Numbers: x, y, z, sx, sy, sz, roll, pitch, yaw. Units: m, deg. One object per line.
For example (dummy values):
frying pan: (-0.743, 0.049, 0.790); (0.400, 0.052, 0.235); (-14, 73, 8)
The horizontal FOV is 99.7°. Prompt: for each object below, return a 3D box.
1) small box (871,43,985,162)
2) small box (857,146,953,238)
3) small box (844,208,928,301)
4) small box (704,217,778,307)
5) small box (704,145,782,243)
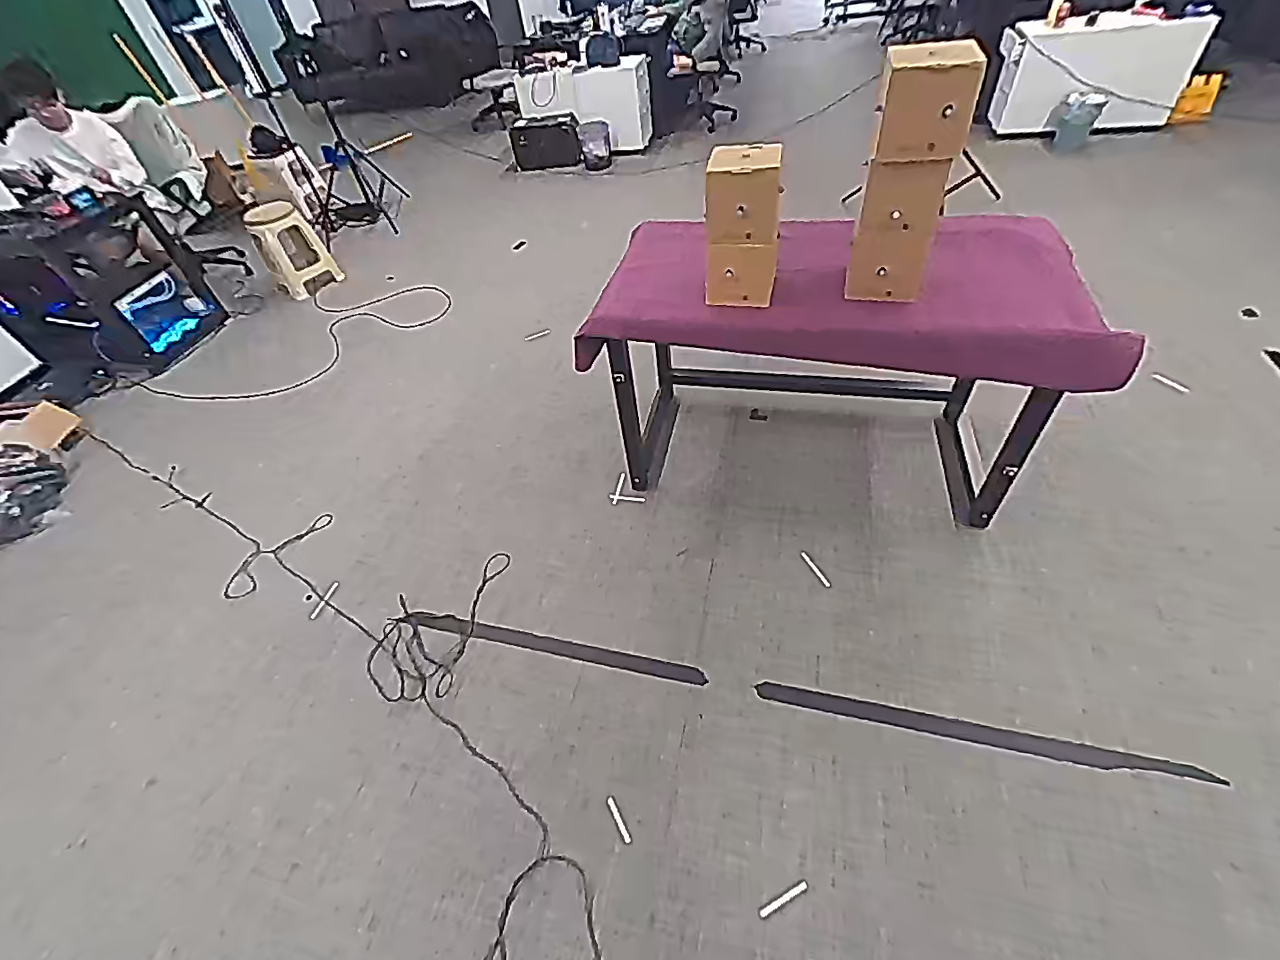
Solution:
small box: (0.585, -0.777, 1.122); (0.168, 0.176, 0.179); (6, 48, 13)
small box: (0.606, -0.685, 1.256); (0.168, 0.176, 0.179); (8, 50, 16)
small box: (0.620, -0.572, 1.374); (0.168, 0.176, 0.179); (9, 49, 15)
small box: (0.268, -0.574, 1.429); (0.168, 0.176, 0.179); (7, 48, 14)
small box: (0.251, -0.691, 1.314); (0.168, 0.176, 0.179); (6, 48, 12)
